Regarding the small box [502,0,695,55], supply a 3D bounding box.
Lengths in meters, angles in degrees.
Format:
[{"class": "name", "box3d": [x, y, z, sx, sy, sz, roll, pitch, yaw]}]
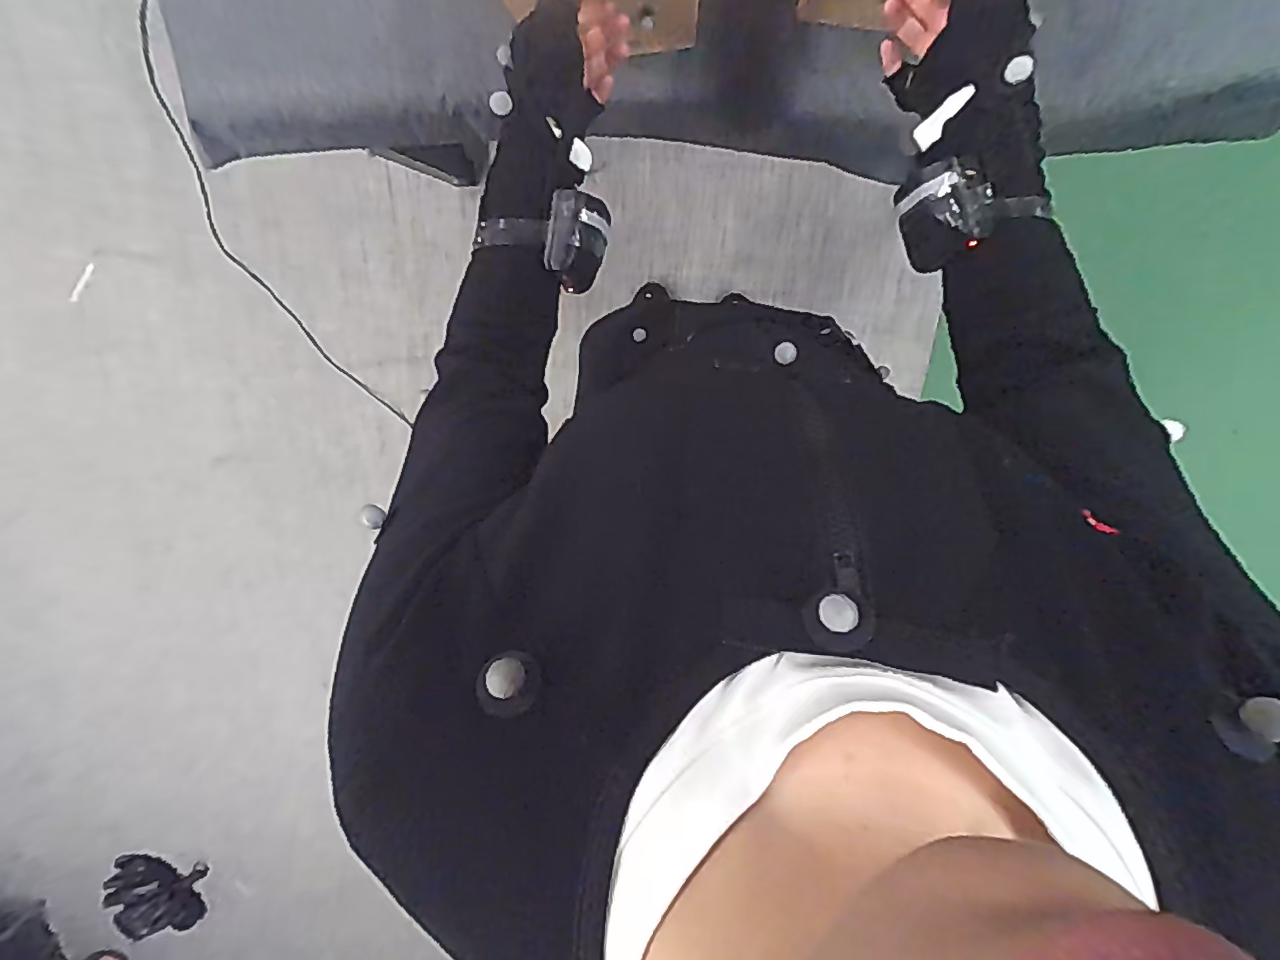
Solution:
[{"class": "small box", "box3d": [-0.037, -0.500, 0.463, 0.168, 0.176, 0.179, -3, 108, 4]}]
